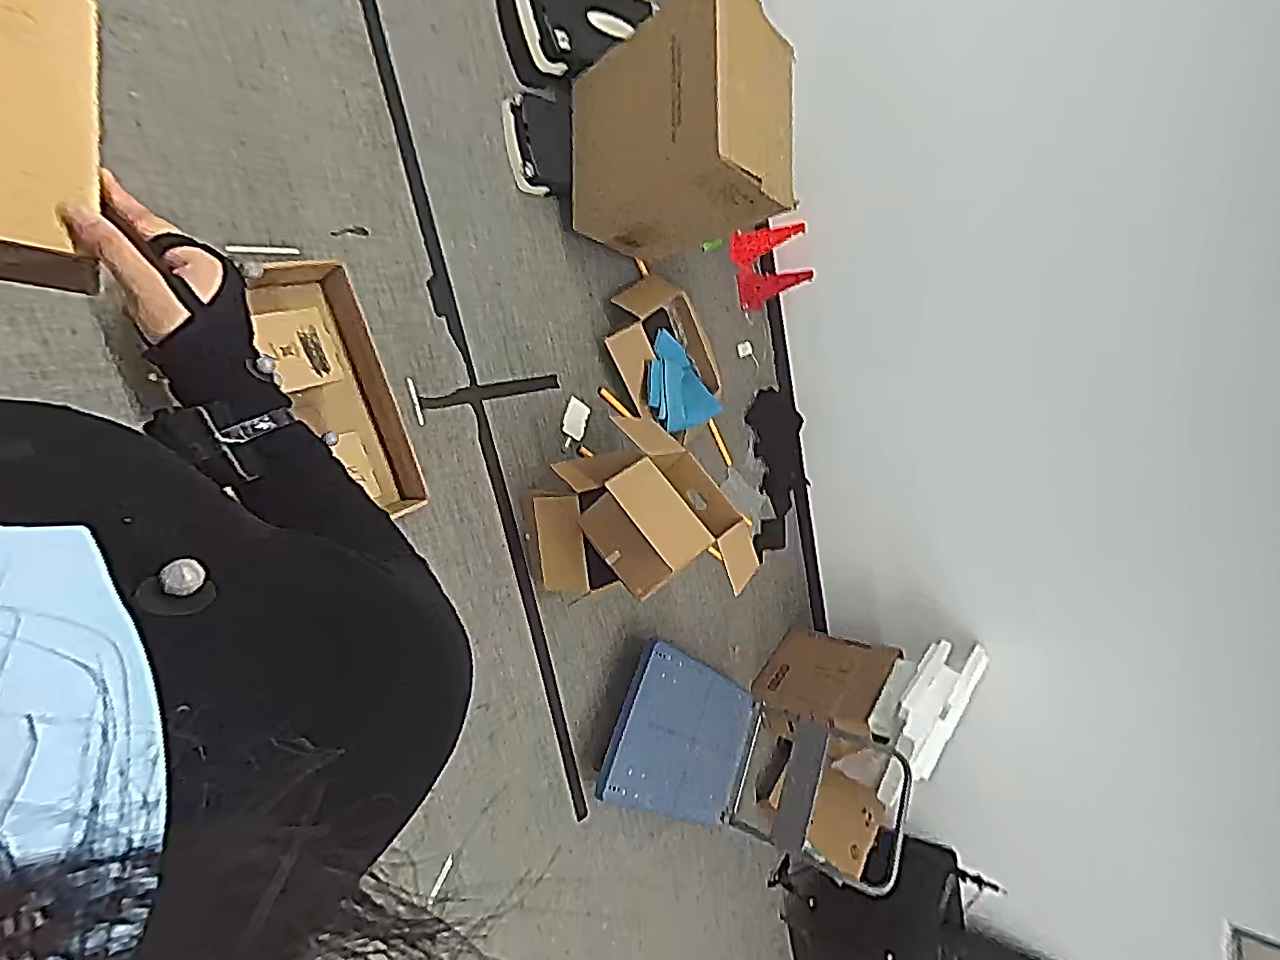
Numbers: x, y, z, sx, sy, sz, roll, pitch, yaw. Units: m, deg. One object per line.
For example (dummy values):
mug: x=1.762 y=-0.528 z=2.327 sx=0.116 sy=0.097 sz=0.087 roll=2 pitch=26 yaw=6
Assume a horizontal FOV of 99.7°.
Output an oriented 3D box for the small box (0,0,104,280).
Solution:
small box: x=-0.472 y=-0.238 z=0.350 sx=0.179 sy=0.176 sz=0.168 roll=-1 pitch=97 yaw=-44

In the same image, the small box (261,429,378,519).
small box: x=-0.755 y=-0.014 z=1.265 sx=0.179 sy=0.176 sz=0.168 roll=-27 pitch=109 yaw=-45
